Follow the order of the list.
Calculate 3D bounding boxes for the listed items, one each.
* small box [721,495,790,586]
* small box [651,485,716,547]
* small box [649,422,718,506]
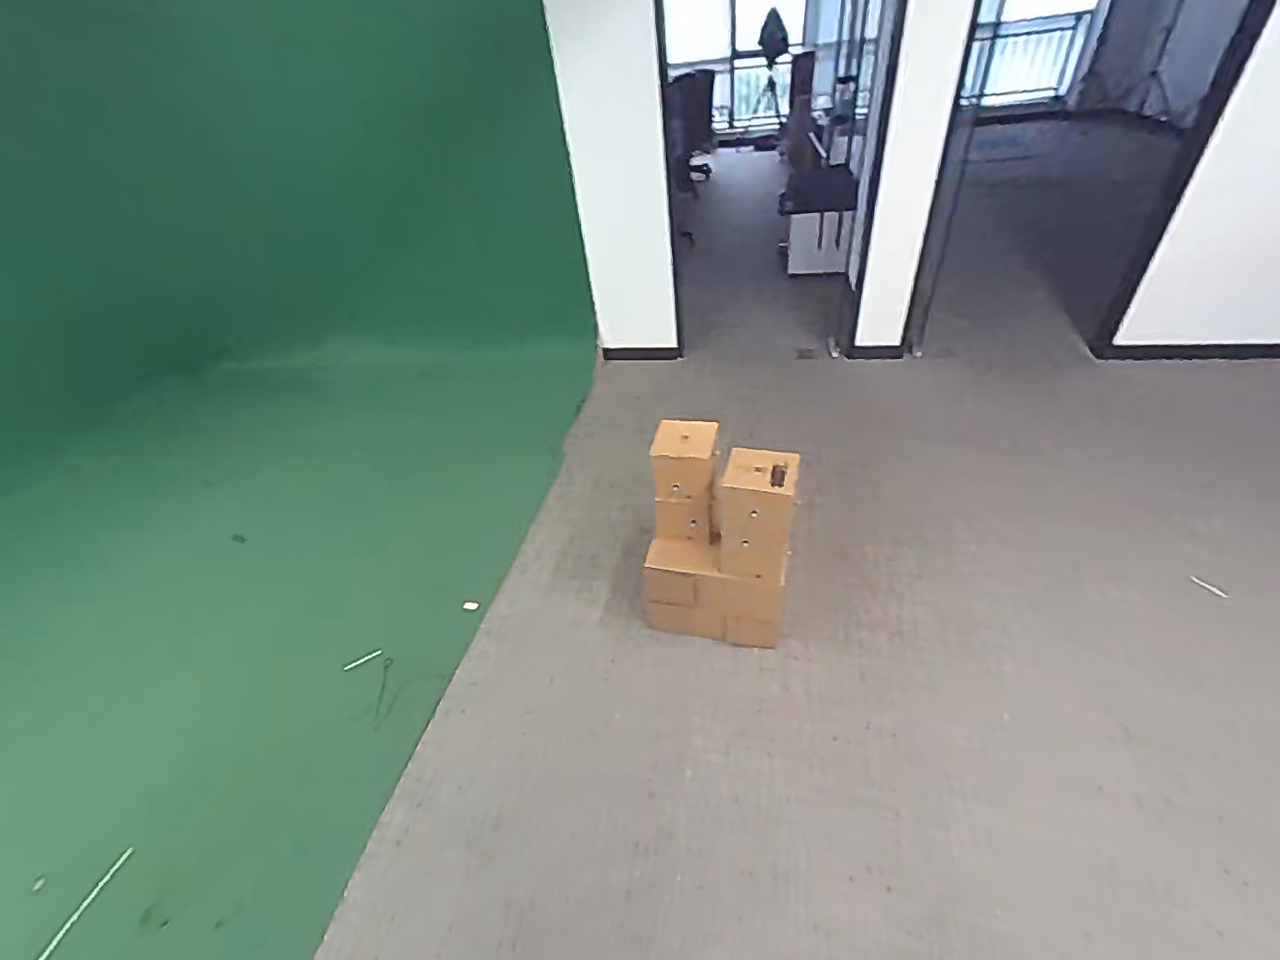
[{"bbox_3d":[0.321,0.169,1.515,0.168,0.176,0.179,7,39,17],"label":"small box"},{"bbox_3d":[0.140,0.085,1.656,0.168,0.176,0.179,5,38,16],"label":"small box"},{"bbox_3d":[0.129,-0.046,1.557,0.168,0.176,0.179,5,41,16],"label":"small box"}]
